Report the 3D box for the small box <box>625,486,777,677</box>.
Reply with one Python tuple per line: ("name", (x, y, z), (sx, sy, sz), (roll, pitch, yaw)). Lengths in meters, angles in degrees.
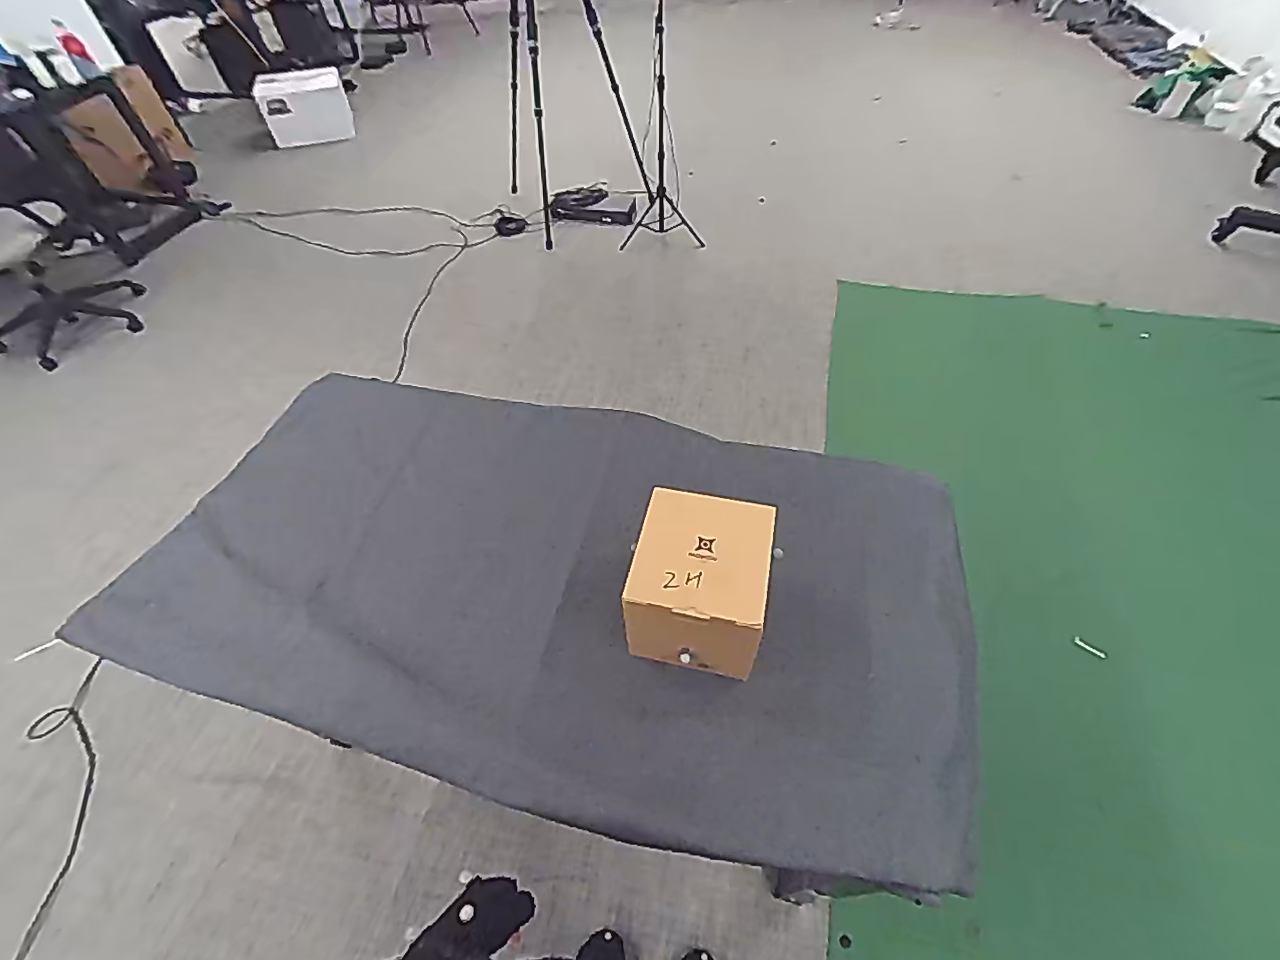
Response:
("small box", (0.082, 0.137, 0.733), (0.168, 0.176, 0.179), (10, 51, 11))
